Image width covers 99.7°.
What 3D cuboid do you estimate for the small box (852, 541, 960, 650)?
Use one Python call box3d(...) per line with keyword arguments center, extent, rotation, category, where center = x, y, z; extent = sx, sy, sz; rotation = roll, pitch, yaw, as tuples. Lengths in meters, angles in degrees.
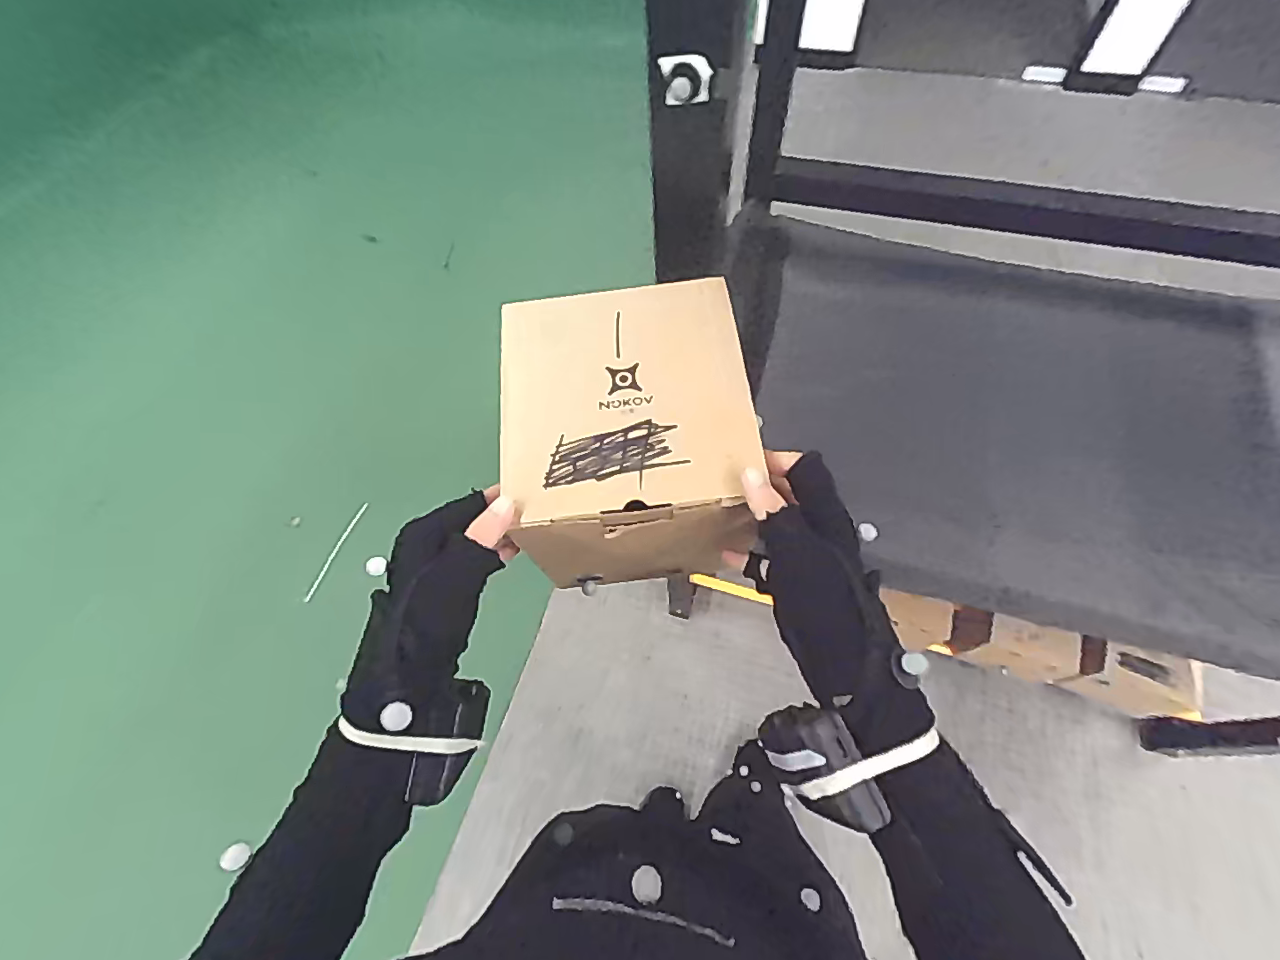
box3d(center=(0.594, 0.265, 1.223), extent=(0.168, 0.176, 0.179), rotation=(16, 67, 12), category="small box")
